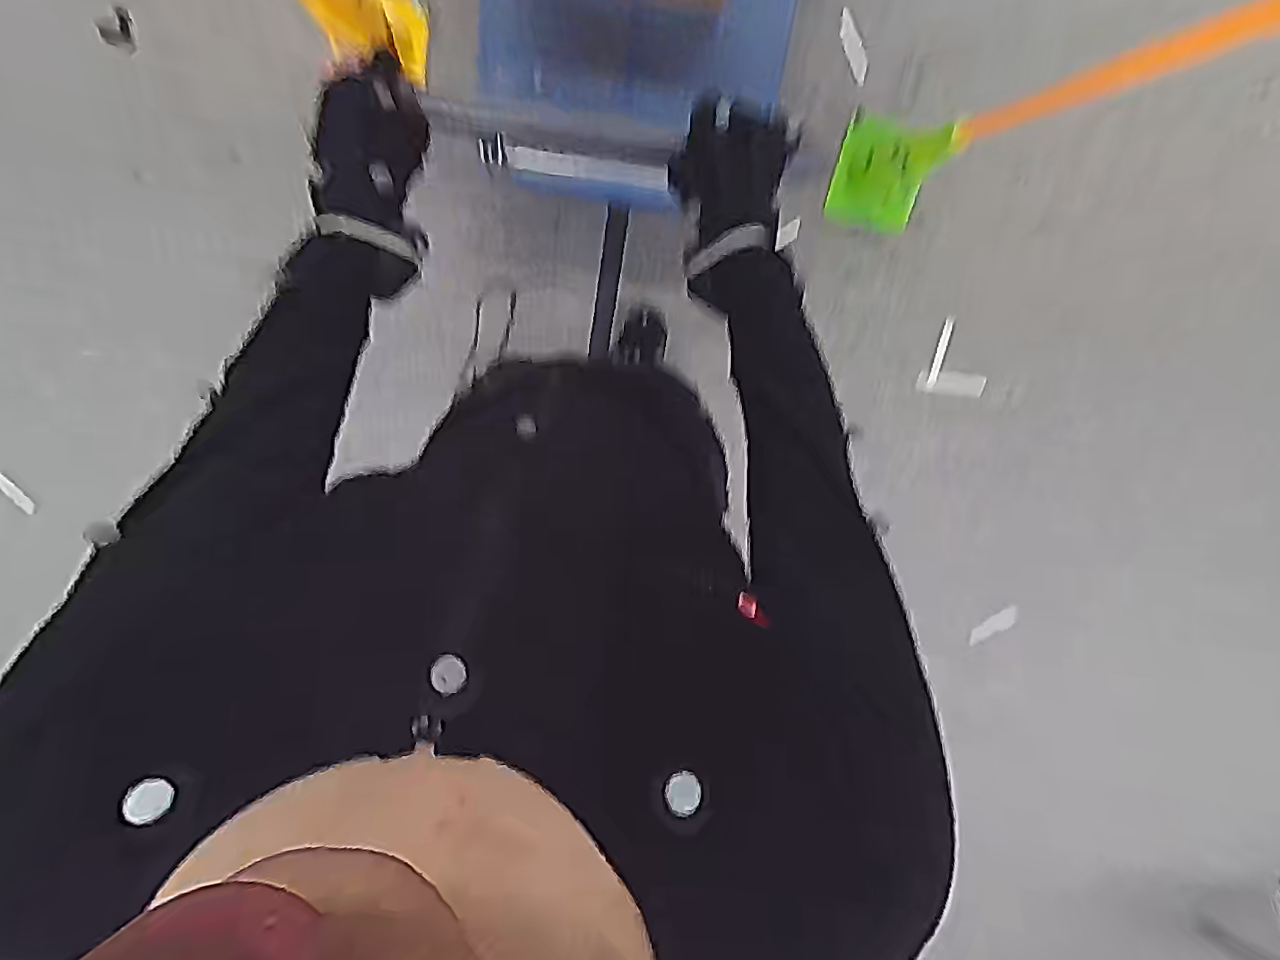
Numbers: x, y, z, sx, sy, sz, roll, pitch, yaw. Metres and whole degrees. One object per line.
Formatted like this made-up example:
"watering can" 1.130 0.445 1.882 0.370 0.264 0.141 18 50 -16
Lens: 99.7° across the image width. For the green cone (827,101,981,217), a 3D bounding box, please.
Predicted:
"green cone" 0.543 -0.661 1.066 0.202 0.368 0.200 12 111 -5
